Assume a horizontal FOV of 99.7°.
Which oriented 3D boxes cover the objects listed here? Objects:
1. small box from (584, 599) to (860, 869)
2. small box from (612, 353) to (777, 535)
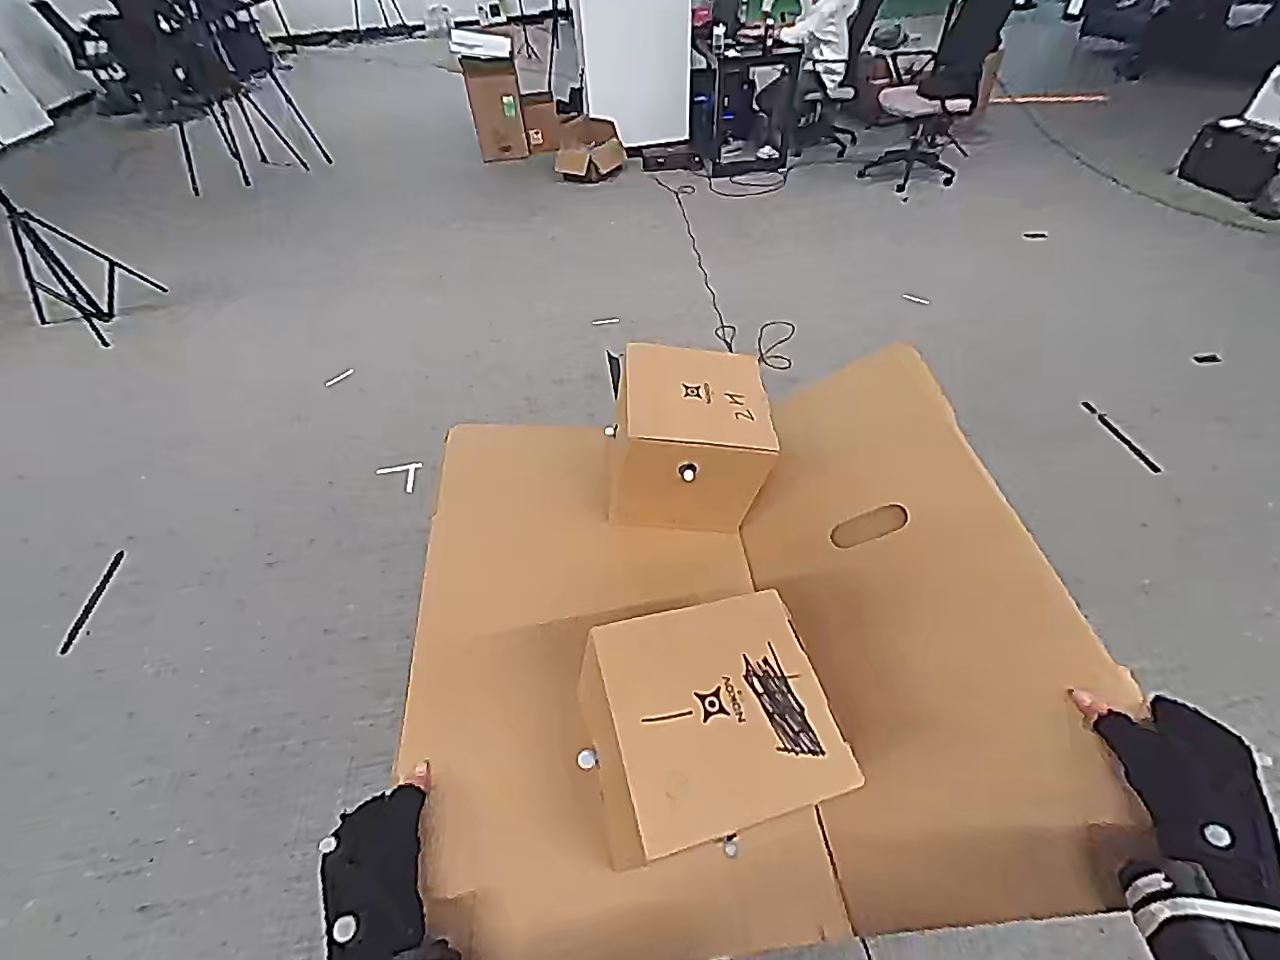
[{"bbox_3d":[0.054,0.231,0.493,0.179,0.176,0.168,-8,54,-17],"label":"small box"},{"bbox_3d":[0.058,-0.041,0.711,0.179,0.176,0.168,5,51,-8],"label":"small box"}]
